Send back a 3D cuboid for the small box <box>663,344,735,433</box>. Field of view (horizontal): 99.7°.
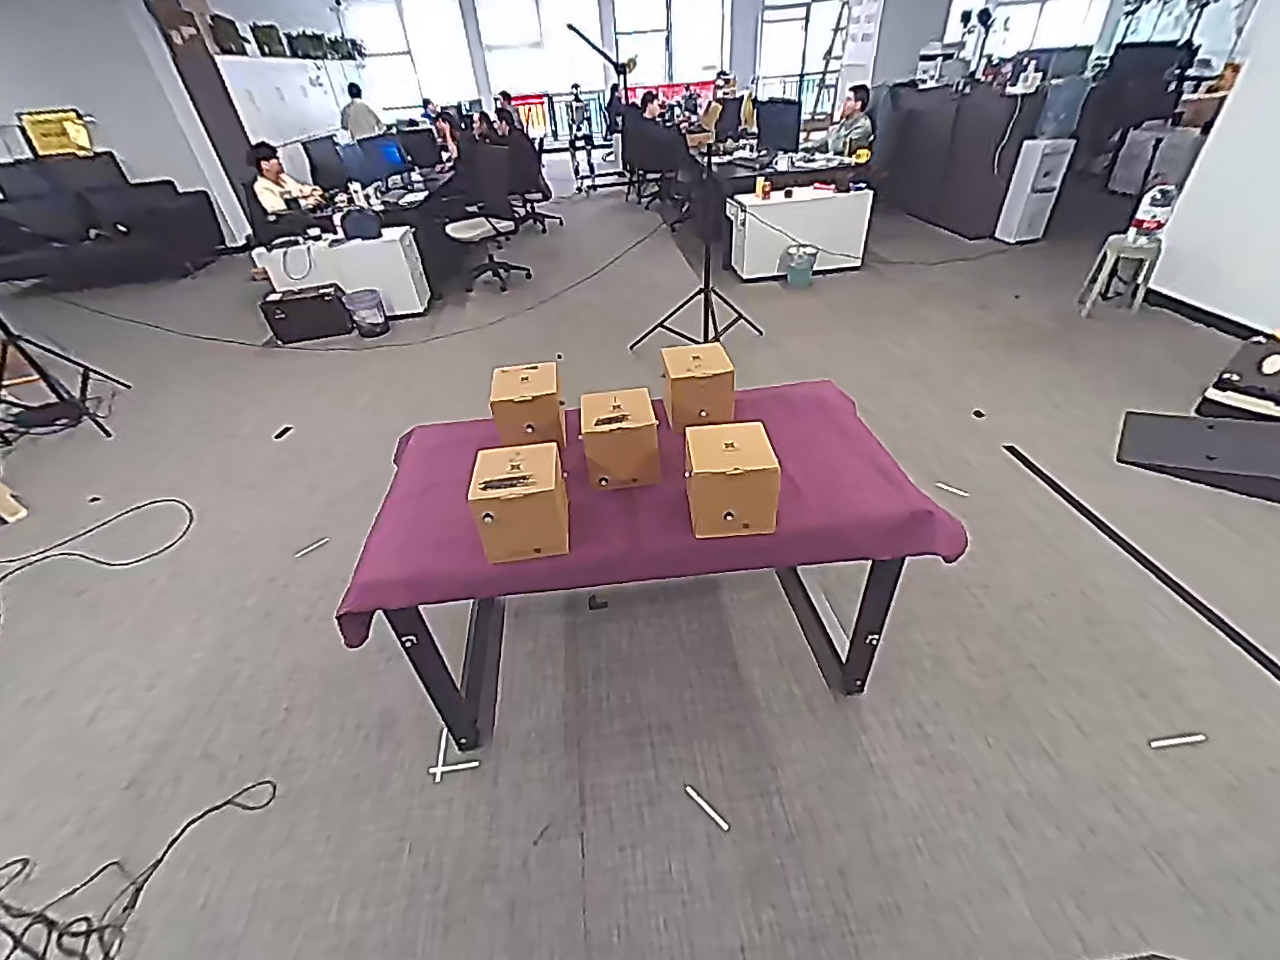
[{"bbox_3d":[0.155,-0.248,1.465,0.168,0.176,0.179,-8,39,-2],"label":"small box"}]

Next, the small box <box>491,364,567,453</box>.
[{"bbox_3d":[-0.287,-0.184,1.432,0.168,0.176,0.179,-7,40,-4],"label":"small box"}]

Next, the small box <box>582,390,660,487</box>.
[{"bbox_3d":[-0.046,-0.094,1.293,0.168,0.176,0.179,-7,37,-2],"label":"small box"}]

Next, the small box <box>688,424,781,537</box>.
[{"bbox_3d":[0.190,0.000,1.142,0.168,0.176,0.179,-4,36,1],"label":"small box"}]
